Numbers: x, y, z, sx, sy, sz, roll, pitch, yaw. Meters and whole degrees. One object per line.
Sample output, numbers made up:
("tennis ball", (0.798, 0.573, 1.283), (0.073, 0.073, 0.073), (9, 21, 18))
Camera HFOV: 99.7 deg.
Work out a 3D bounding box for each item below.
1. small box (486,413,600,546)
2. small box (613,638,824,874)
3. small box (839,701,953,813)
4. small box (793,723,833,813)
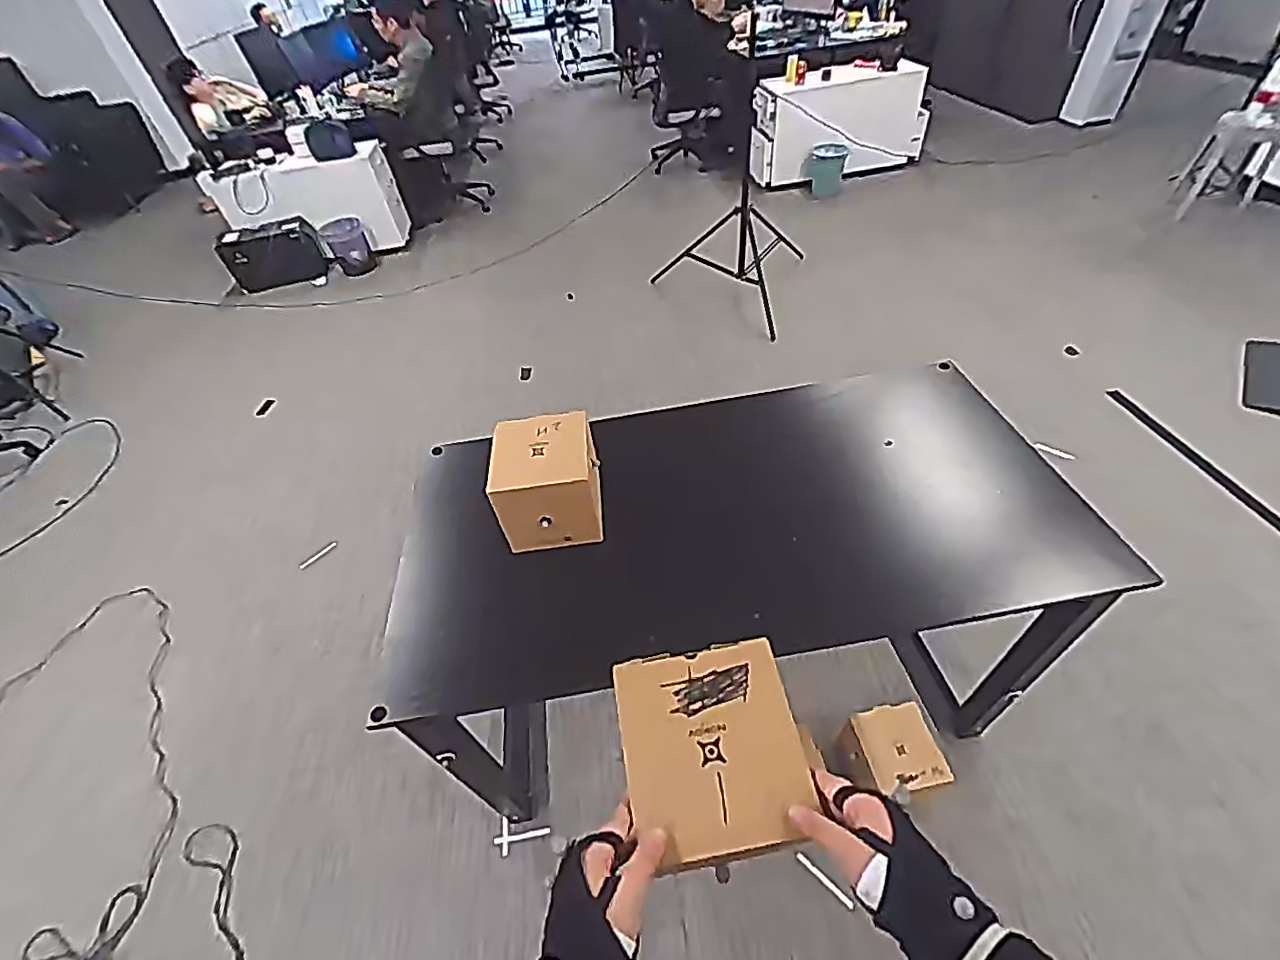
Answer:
("small box", (-0.166, 0.006, 0.978), (0.168, 0.176, 0.179), (-7, 46, 0))
("small box", (0.068, 0.292, 0.569), (0.168, 0.176, 0.179), (-10, 53, -3))
("small box", (0.586, 0.651, 1.270), (0.168, 0.176, 0.179), (-11, 46, -2))
("small box", (0.327, 0.695, 1.268), (0.179, 0.176, 0.168), (-11, 46, -1))
